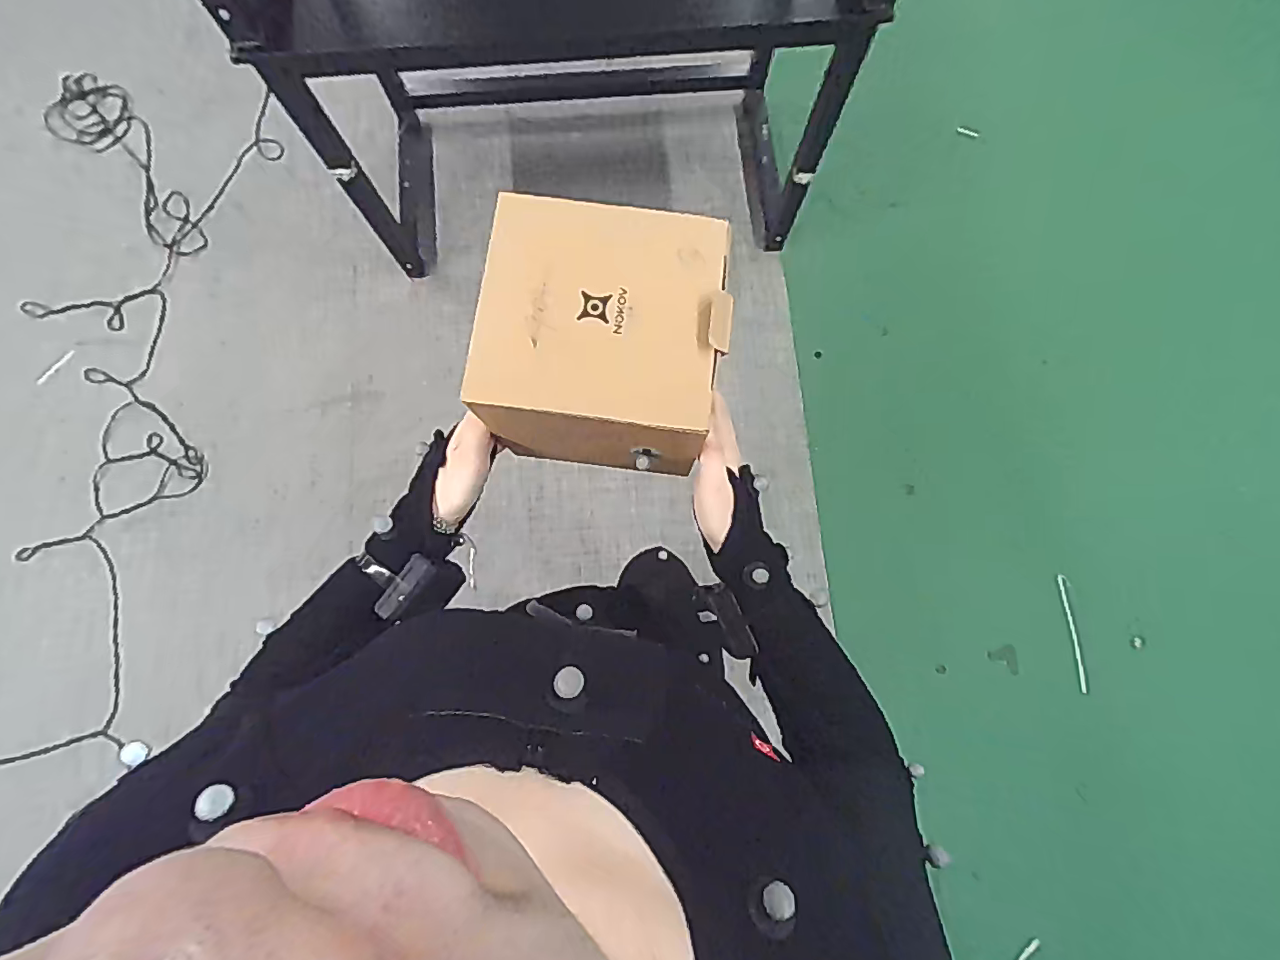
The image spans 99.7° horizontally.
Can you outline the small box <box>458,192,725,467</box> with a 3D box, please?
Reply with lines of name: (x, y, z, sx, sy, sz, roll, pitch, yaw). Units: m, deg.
small box: (-0.032, -0.111, 0.468, 0.179, 0.176, 0.168, 6, 80, 1)
